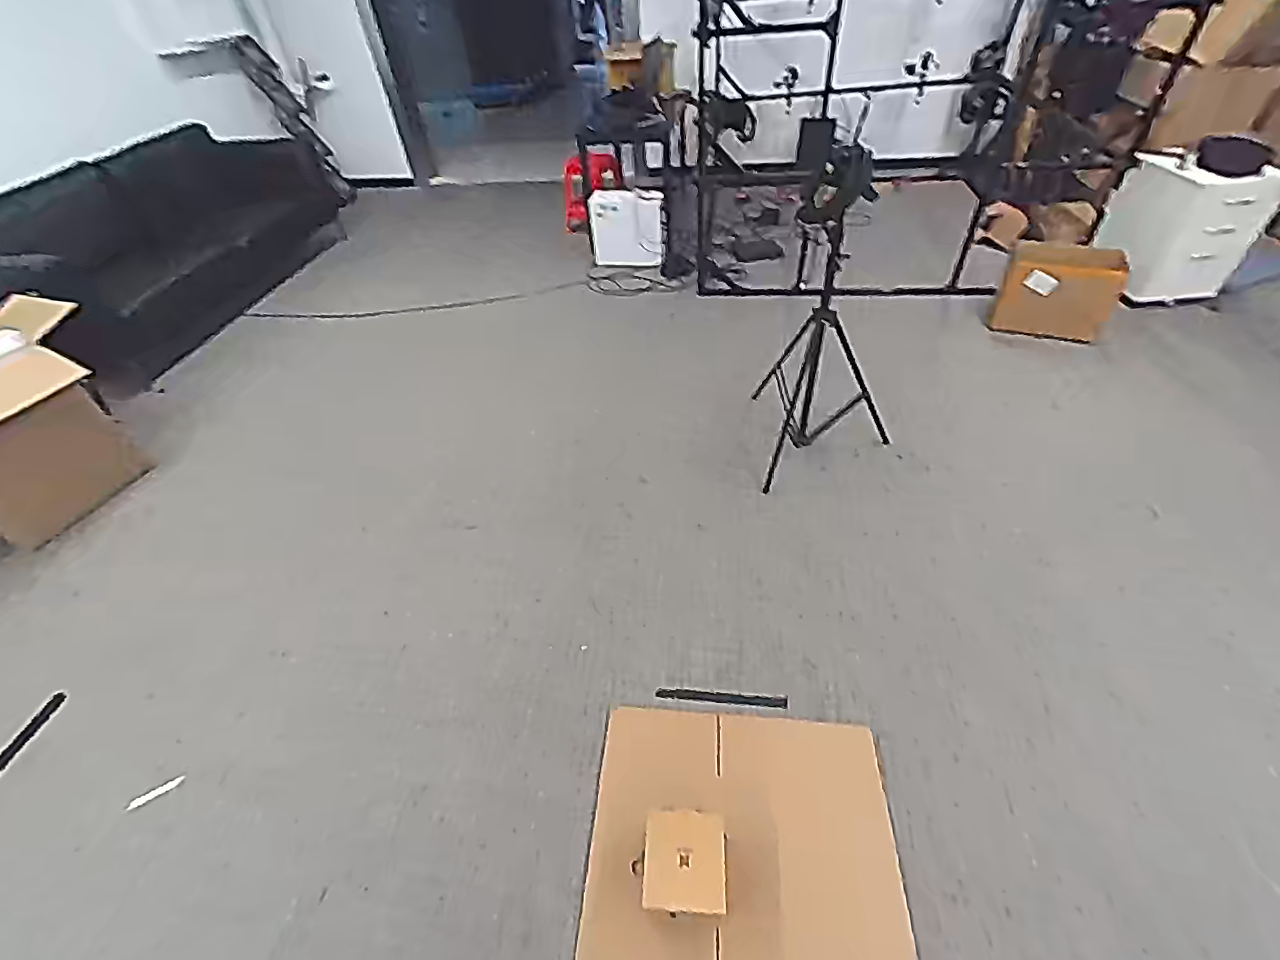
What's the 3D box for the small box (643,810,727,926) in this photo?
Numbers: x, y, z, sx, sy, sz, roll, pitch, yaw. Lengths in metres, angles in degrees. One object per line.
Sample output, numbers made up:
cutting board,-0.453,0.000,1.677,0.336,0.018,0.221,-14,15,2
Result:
small box,0.100,0.834,1.160,0.168,0.176,0.179,0,45,6
